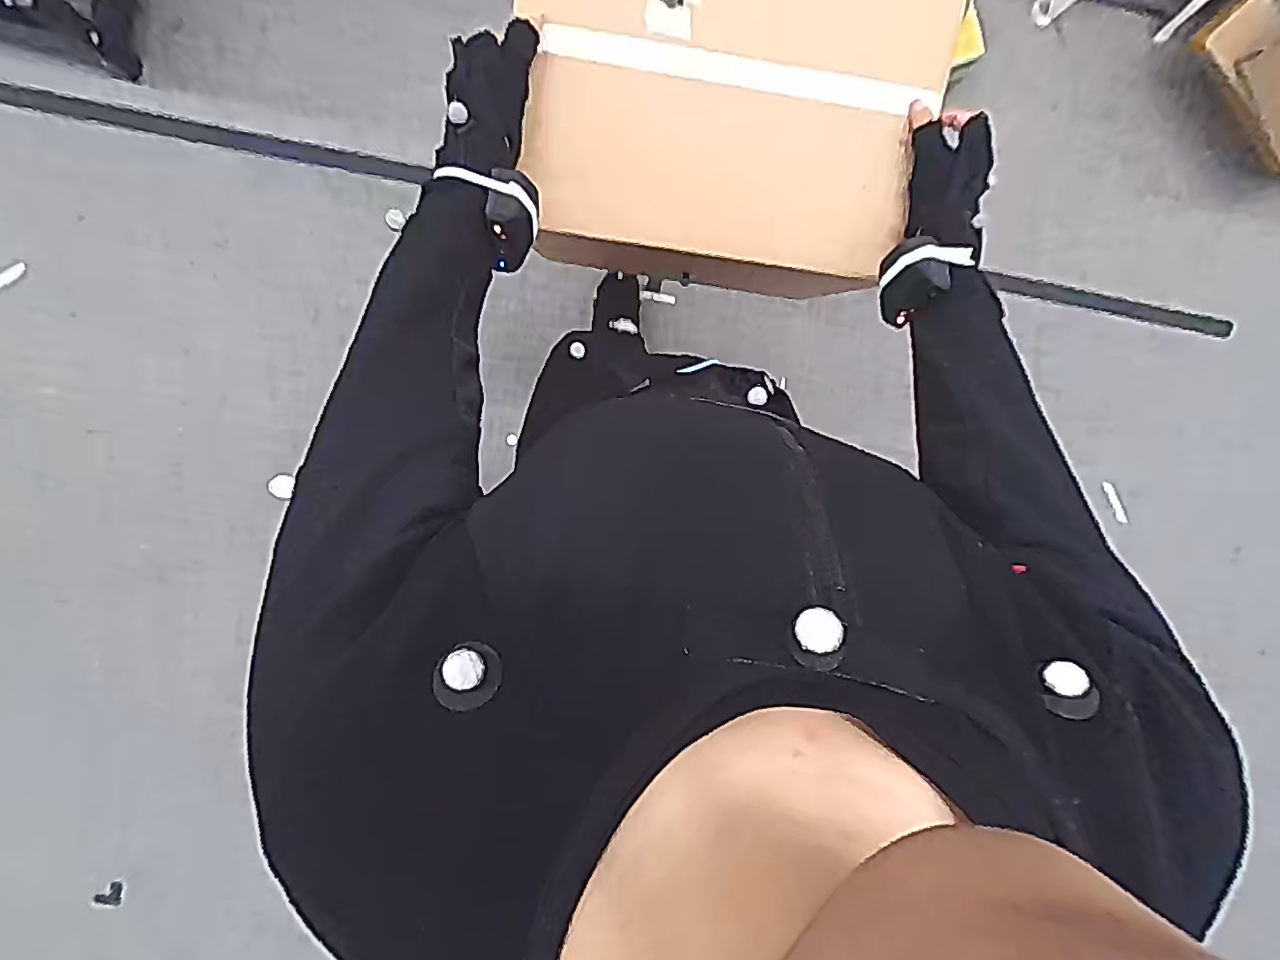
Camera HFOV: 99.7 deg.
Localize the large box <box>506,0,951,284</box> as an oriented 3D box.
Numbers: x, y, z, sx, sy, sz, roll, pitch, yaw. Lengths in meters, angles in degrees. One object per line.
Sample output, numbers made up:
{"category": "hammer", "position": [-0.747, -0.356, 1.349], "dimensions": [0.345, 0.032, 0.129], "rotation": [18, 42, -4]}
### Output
{"category": "large box", "position": [0.079, -0.430, 0.654], "dimensions": [0.408, 0.320, 0.320], "rotation": [7, 104, -4]}
